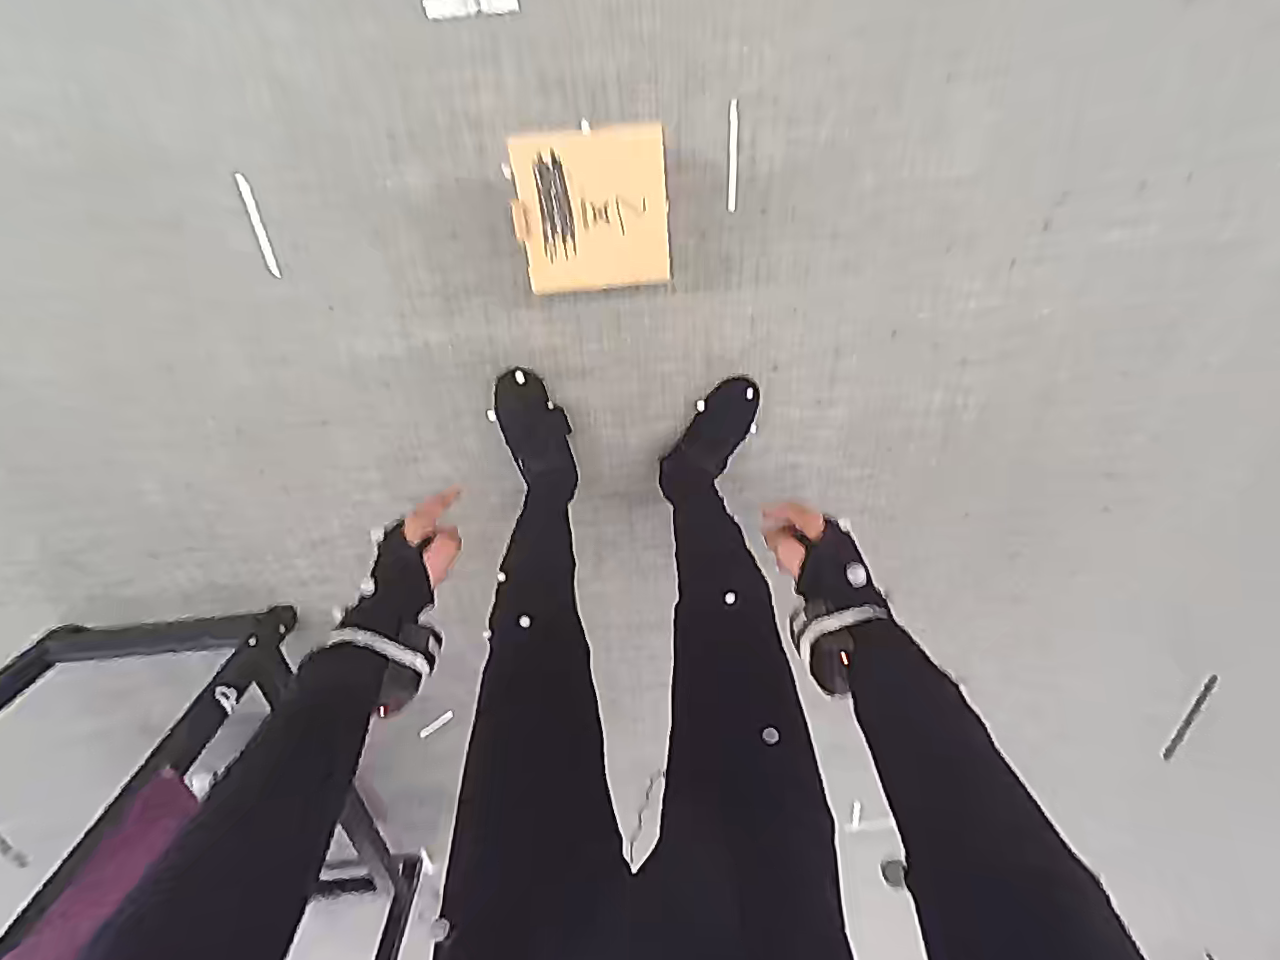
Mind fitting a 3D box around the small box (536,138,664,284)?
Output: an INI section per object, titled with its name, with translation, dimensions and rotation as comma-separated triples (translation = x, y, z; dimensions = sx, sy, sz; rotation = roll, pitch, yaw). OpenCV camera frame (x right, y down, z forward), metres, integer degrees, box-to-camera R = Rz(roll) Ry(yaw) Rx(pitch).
[small box]
translation = -0.055, -0.423, 0.853
dimensions = 0.168, 0.176, 0.179
rotation = -8, 118, 2
